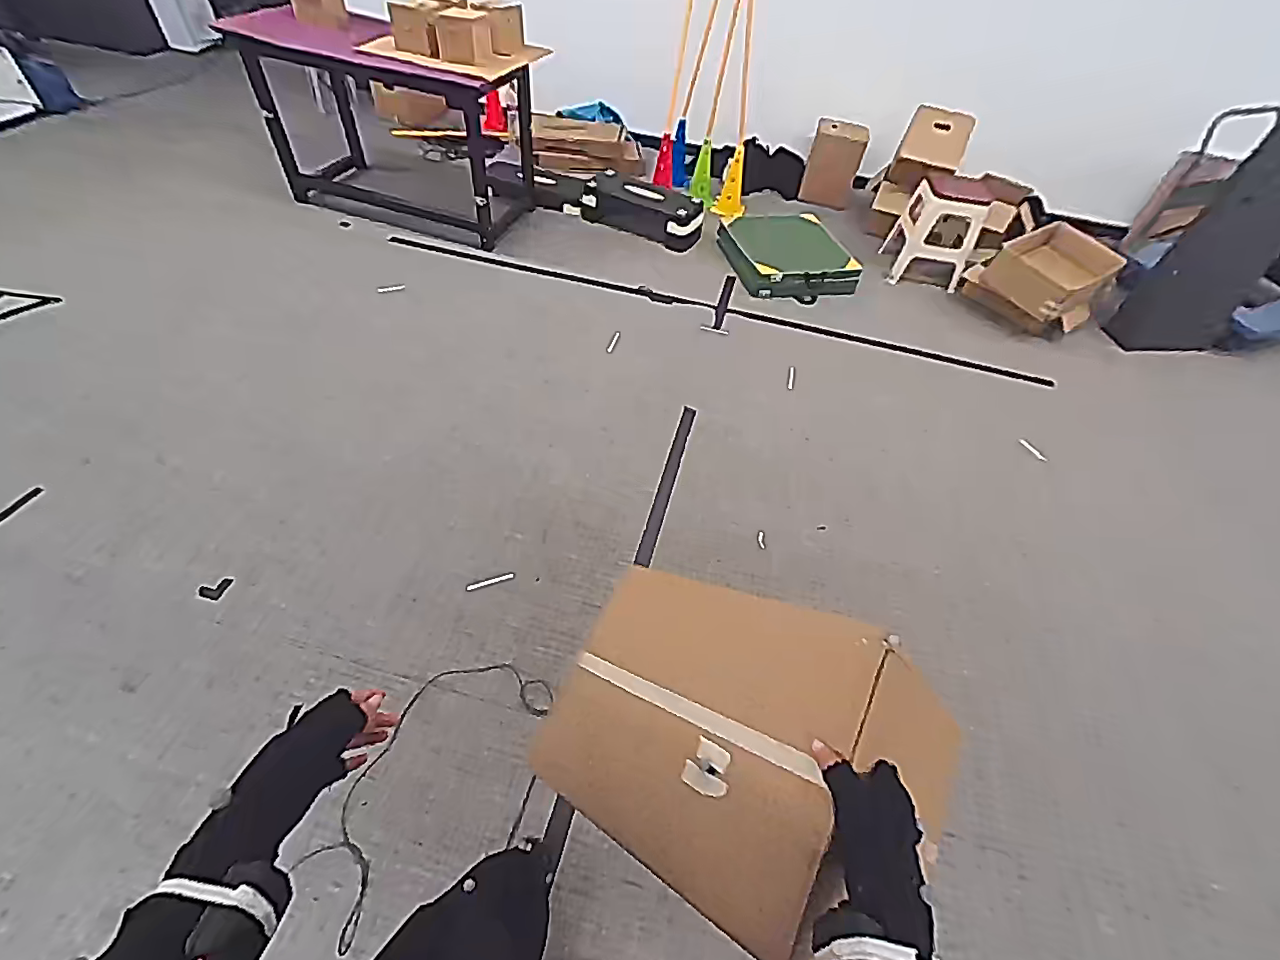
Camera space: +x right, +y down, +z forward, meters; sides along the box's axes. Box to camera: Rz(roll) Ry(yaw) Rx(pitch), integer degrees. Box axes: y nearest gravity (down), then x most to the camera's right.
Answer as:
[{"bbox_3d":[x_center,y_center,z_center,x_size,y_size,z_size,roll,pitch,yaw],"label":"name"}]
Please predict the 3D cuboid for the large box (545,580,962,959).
[{"bbox_3d":[0.153,0.373,0.743,0.408,0.320,0.320,3,57,48],"label":"large box"}]
